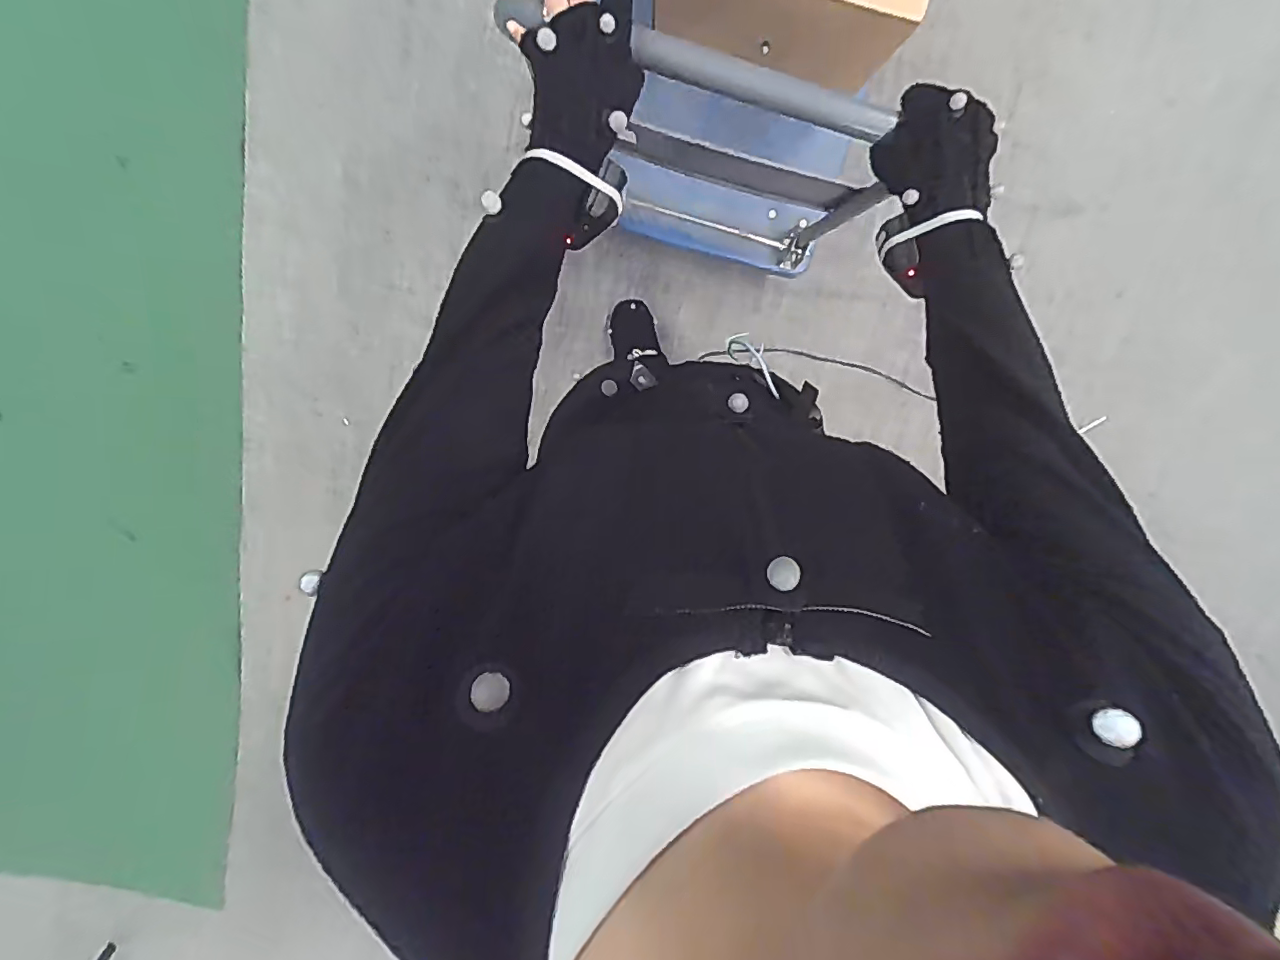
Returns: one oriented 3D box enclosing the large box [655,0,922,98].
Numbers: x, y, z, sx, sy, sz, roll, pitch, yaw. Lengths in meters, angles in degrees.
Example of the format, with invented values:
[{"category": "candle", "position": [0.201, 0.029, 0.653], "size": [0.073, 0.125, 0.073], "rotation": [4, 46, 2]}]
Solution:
[{"category": "large box", "position": [0.255, -0.904, 0.895], "size": [0.408, 0.320, 0.320], "rotation": [14, 106, -2]}]
